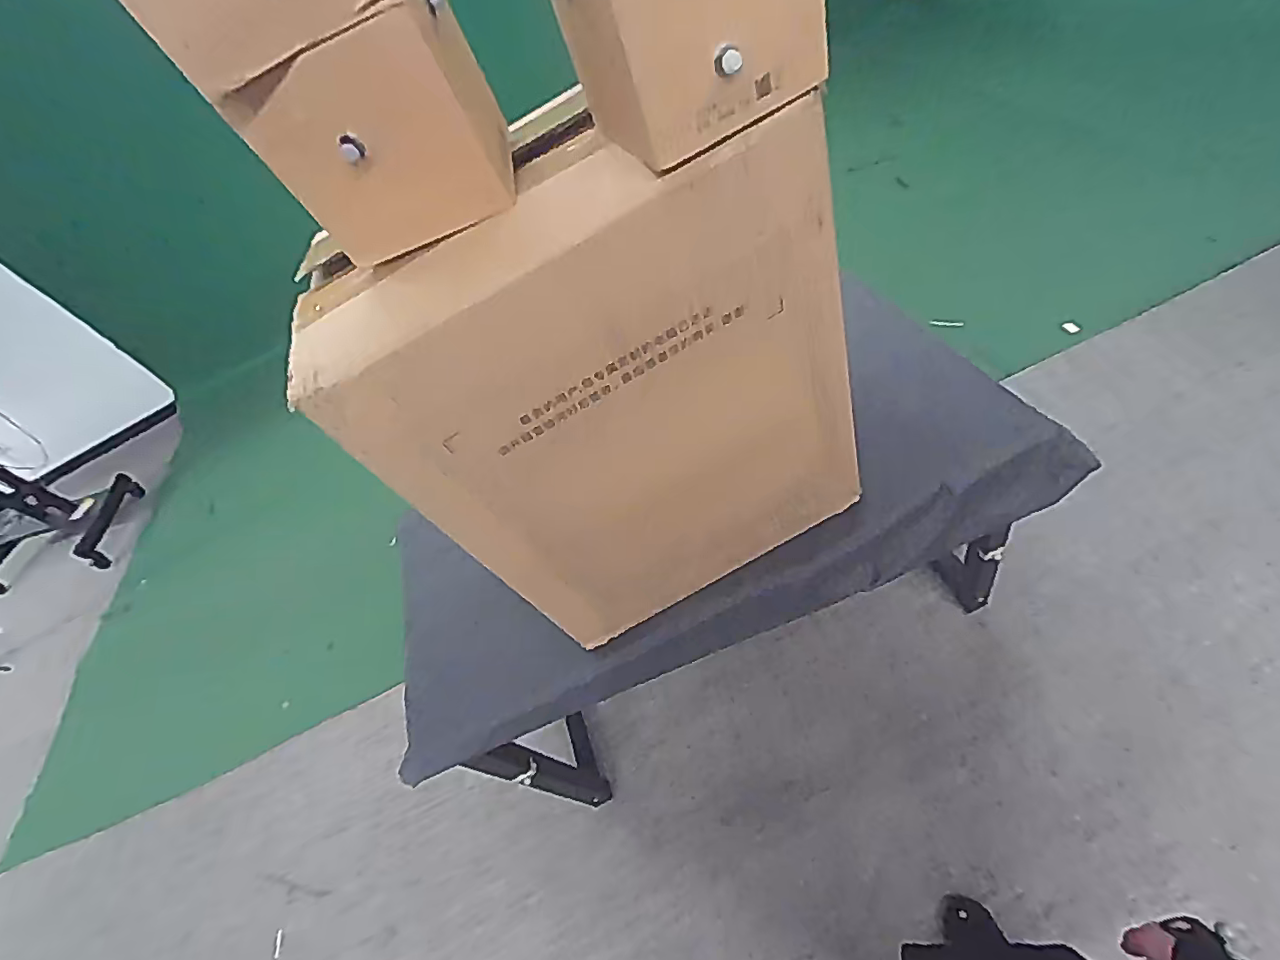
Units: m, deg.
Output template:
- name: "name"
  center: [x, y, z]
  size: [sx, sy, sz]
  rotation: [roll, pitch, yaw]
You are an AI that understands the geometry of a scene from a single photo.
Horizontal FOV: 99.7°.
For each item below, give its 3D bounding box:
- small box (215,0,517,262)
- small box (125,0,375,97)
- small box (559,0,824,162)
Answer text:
- name: "small box"
  center: [-0.236, -0.343, 0.511]
  size: [0.179, 0.176, 0.168]
  rotation: [-18, 58, 10]
- name: "small box"
  center: [-0.300, -0.414, 0.379]
  size: [0.179, 0.176, 0.168]
  rotation: [-32, 57, -2]
- name: "small box"
  center: [0.032, -0.398, 0.448]
  size: [0.168, 0.176, 0.179]
  rotation: [-29, 49, 1]
